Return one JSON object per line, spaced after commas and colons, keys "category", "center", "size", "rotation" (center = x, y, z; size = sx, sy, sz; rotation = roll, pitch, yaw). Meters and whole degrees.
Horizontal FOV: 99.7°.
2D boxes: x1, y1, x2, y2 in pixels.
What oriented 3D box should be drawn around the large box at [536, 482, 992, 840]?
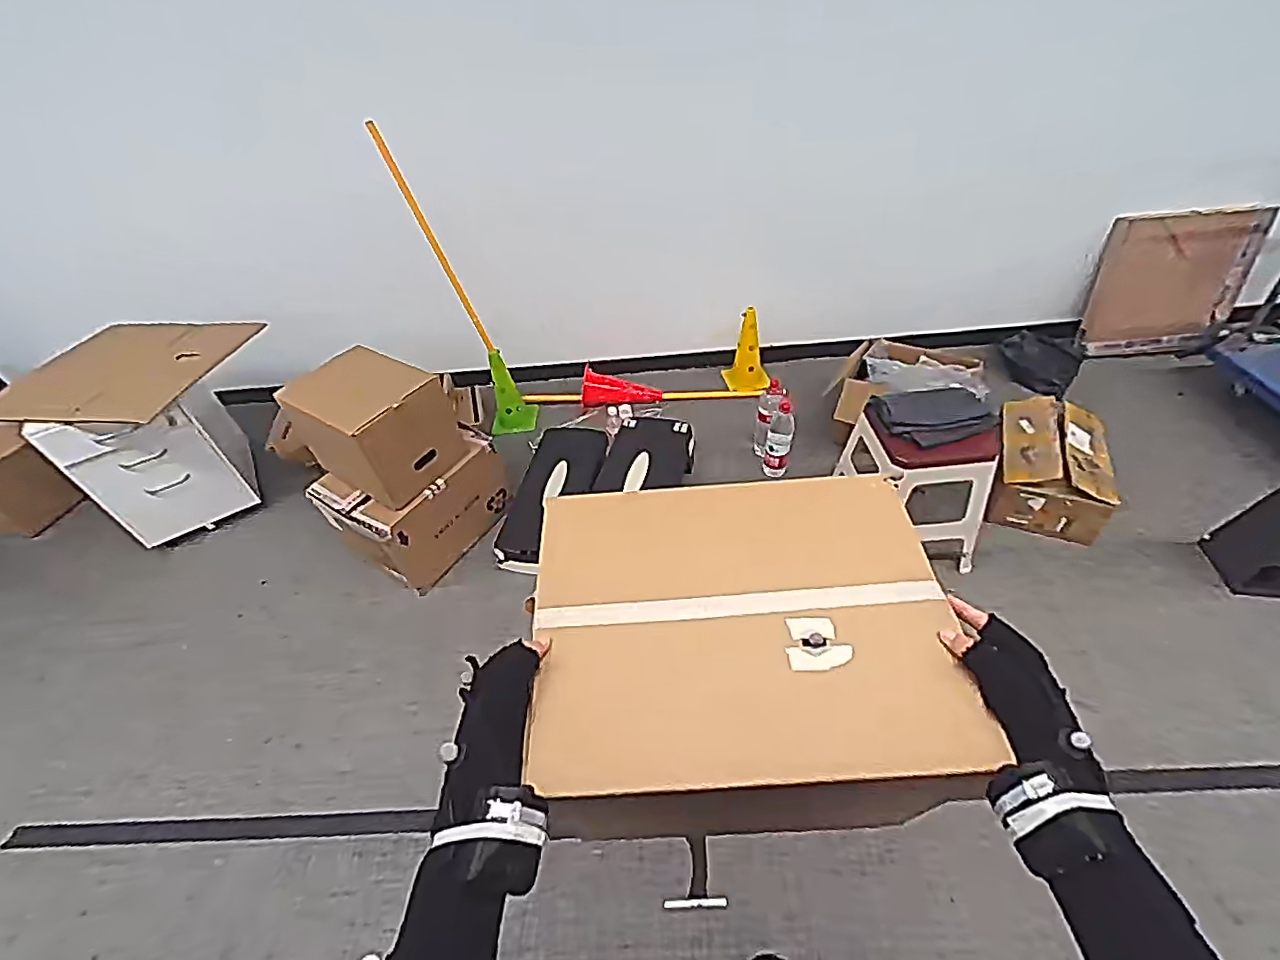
{"category": "large box", "center": [0.105, 0.231, 0.670], "size": [0.408, 0.320, 0.320], "rotation": [-5, 51, 1]}
